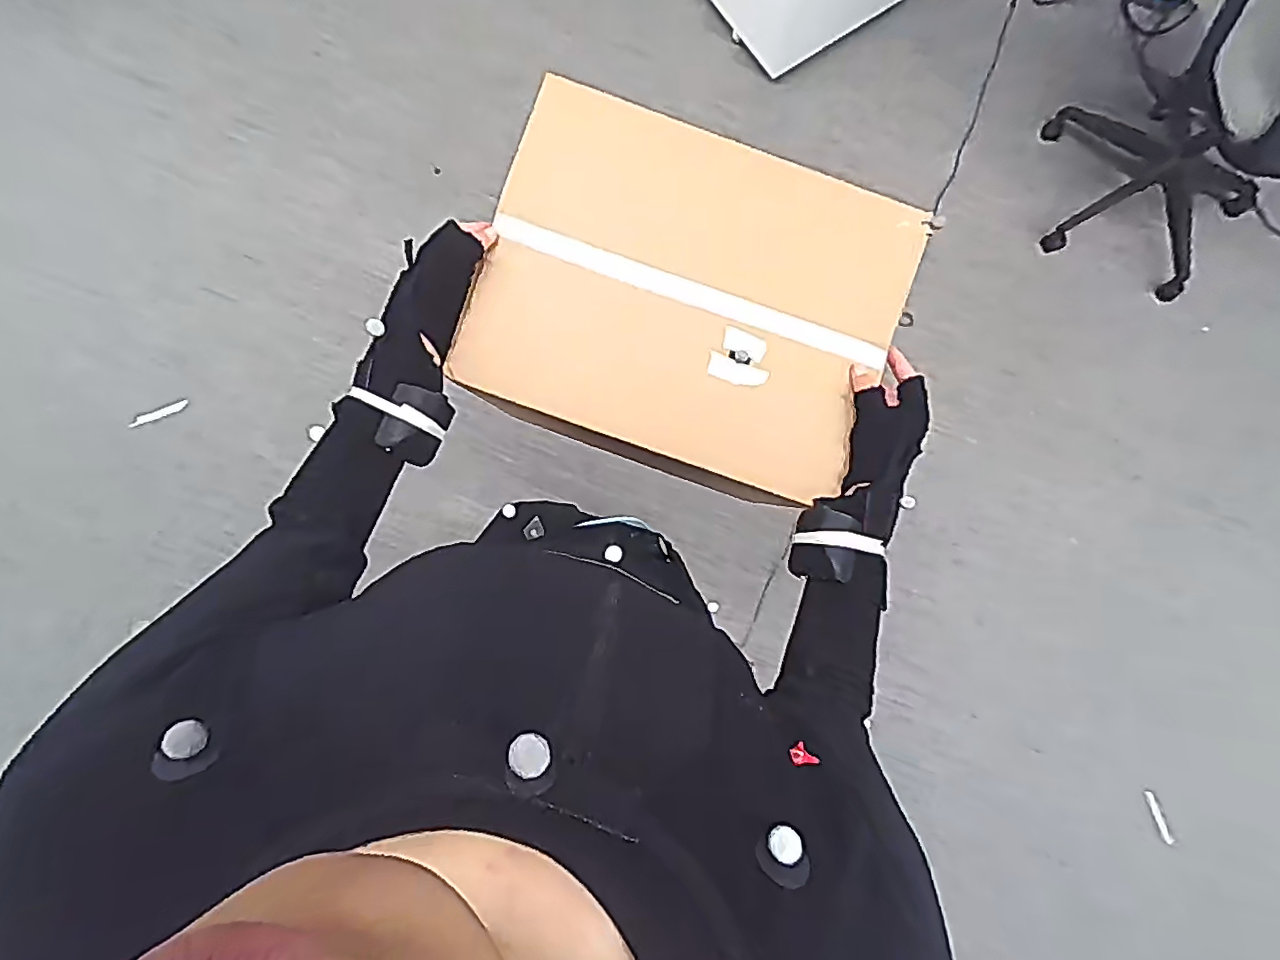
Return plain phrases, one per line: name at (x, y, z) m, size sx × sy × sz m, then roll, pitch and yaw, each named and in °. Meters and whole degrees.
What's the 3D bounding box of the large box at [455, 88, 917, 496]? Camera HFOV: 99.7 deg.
large box at (0.043, -0.188, 0.692) m, size 0.408 × 0.320 × 0.320 m, roll 20°, pitch 90°, yaw -2°
